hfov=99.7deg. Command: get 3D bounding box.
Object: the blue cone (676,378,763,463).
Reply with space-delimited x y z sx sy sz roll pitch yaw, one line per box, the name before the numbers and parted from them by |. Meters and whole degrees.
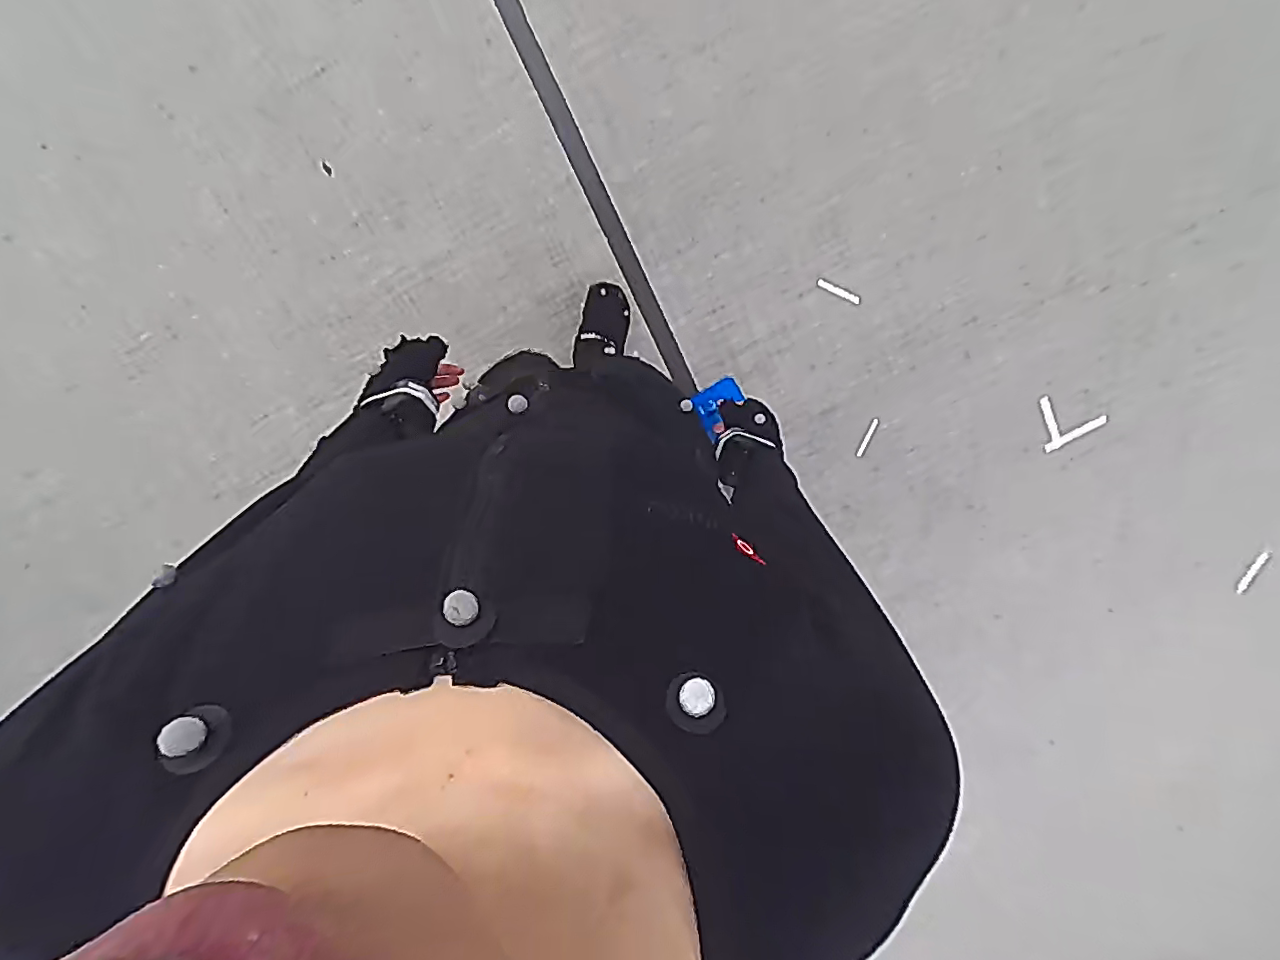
blue cone | 0.217 -0.106 1.291 0.192 0.380 0.193 -30 107 6
